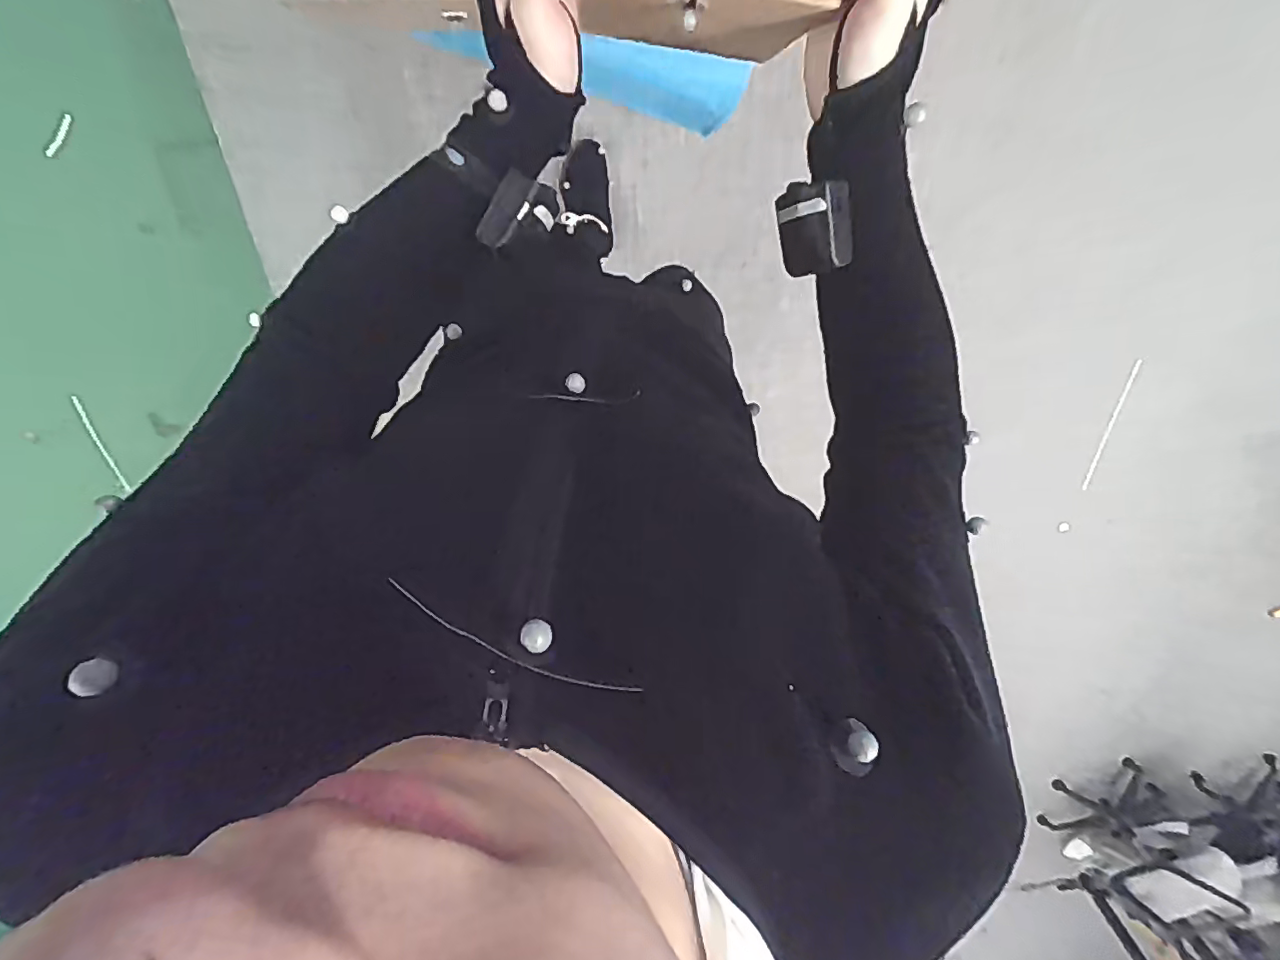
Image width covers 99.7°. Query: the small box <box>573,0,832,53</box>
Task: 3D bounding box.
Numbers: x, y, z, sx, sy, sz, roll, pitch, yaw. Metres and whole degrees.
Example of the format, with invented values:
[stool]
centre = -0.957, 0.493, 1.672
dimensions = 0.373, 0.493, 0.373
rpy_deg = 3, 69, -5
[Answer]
[small box]
centre = 0.044, -0.417, 0.366
dimensions = 0.179, 0.176, 0.168
rpy_deg = 3, 118, -9
